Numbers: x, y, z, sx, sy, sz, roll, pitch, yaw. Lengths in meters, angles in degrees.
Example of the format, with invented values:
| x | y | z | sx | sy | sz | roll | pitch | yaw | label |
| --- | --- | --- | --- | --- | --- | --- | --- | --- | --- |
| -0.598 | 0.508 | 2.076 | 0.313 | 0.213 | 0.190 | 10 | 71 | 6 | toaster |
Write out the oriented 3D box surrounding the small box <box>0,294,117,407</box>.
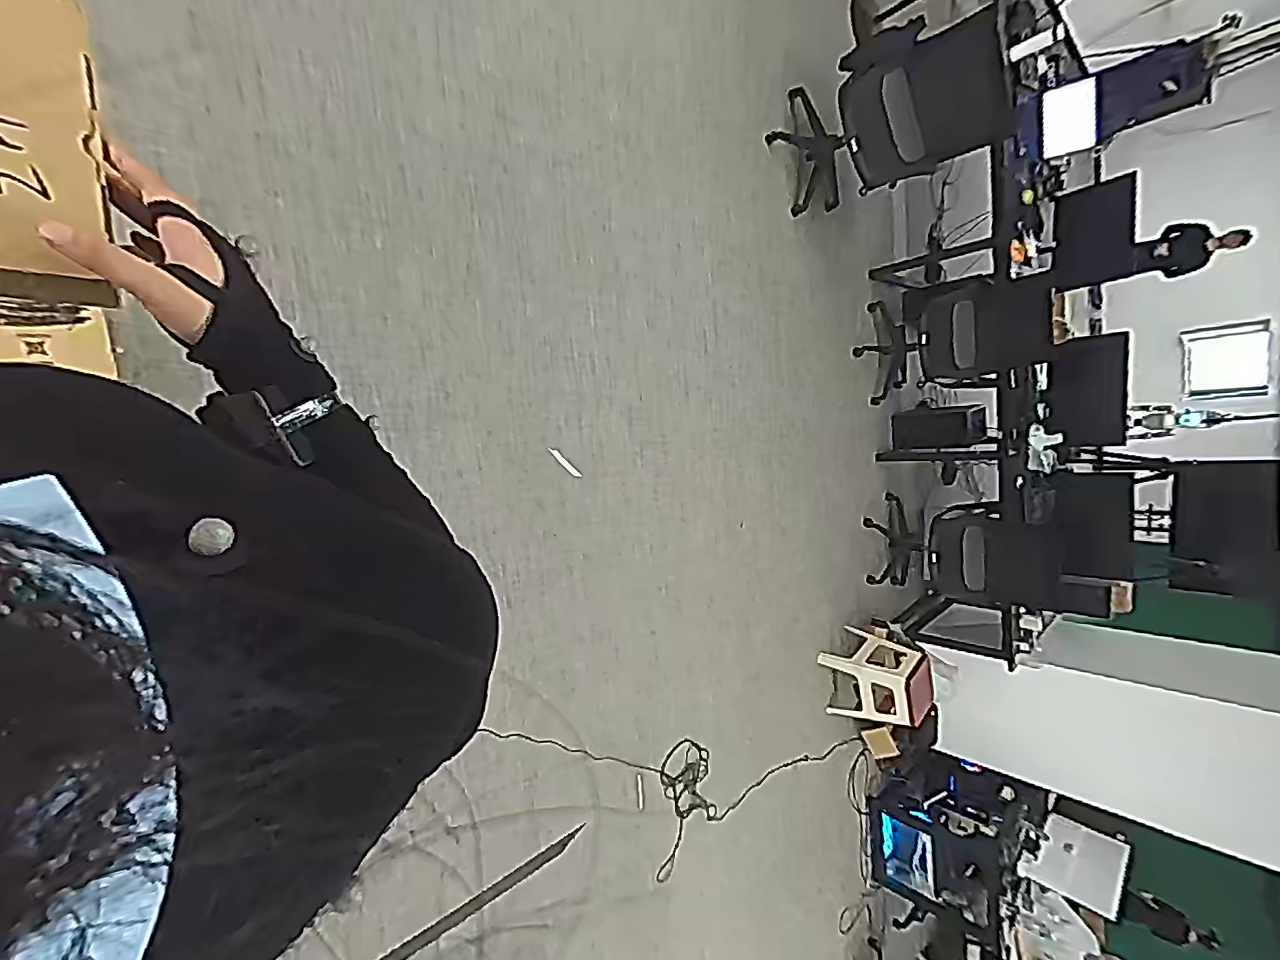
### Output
| x | y | z | sx | sy | sz | roll | pitch | yaw | label |
| --- | --- | --- | --- | --- | --- | --- | --- | --- | --- |
| -1.082 | -0.235 | 0.977 | 0.168 | 0.176 | 0.179 | -17 | 103 | -42 | small box |

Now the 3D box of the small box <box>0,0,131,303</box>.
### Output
| x | y | z | sx | sy | sz | roll | pitch | yaw | label |
| --- | --- | --- | --- | --- | --- | --- | --- | --- | --- |
| -0.449 | -0.212 | 0.339 | 0.179 | 0.176 | 0.168 | -6 | 102 | -42 | small box |
